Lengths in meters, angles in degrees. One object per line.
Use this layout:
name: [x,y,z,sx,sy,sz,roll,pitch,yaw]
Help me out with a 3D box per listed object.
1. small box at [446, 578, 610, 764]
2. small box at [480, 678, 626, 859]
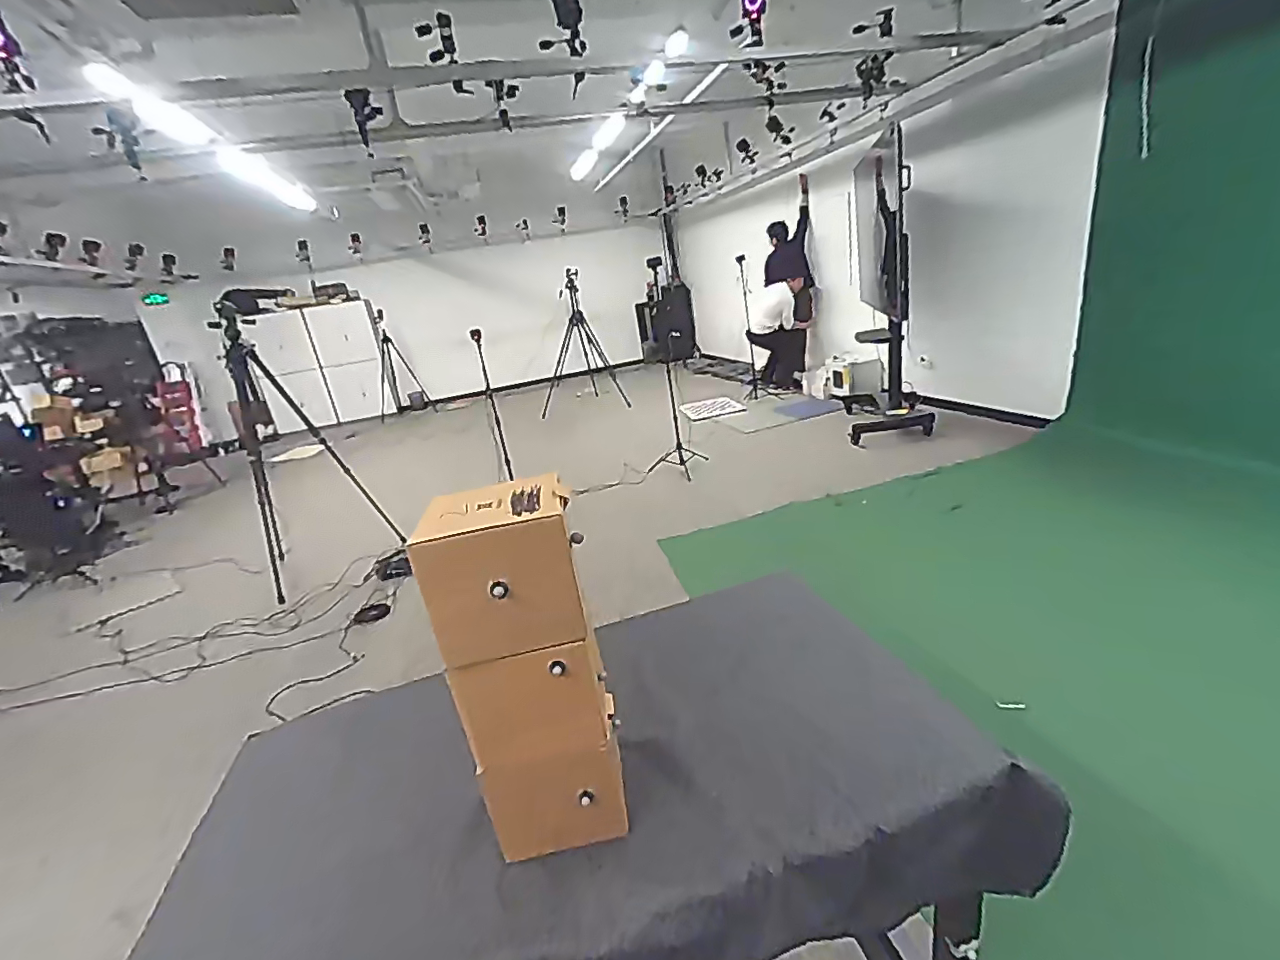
small box: [-0.145,0.261,0.752,0.179,0.176,0.168,-10,19,-4]
small box: [-0.119,0.414,0.801,0.179,0.176,0.168,-12,18,-4]
